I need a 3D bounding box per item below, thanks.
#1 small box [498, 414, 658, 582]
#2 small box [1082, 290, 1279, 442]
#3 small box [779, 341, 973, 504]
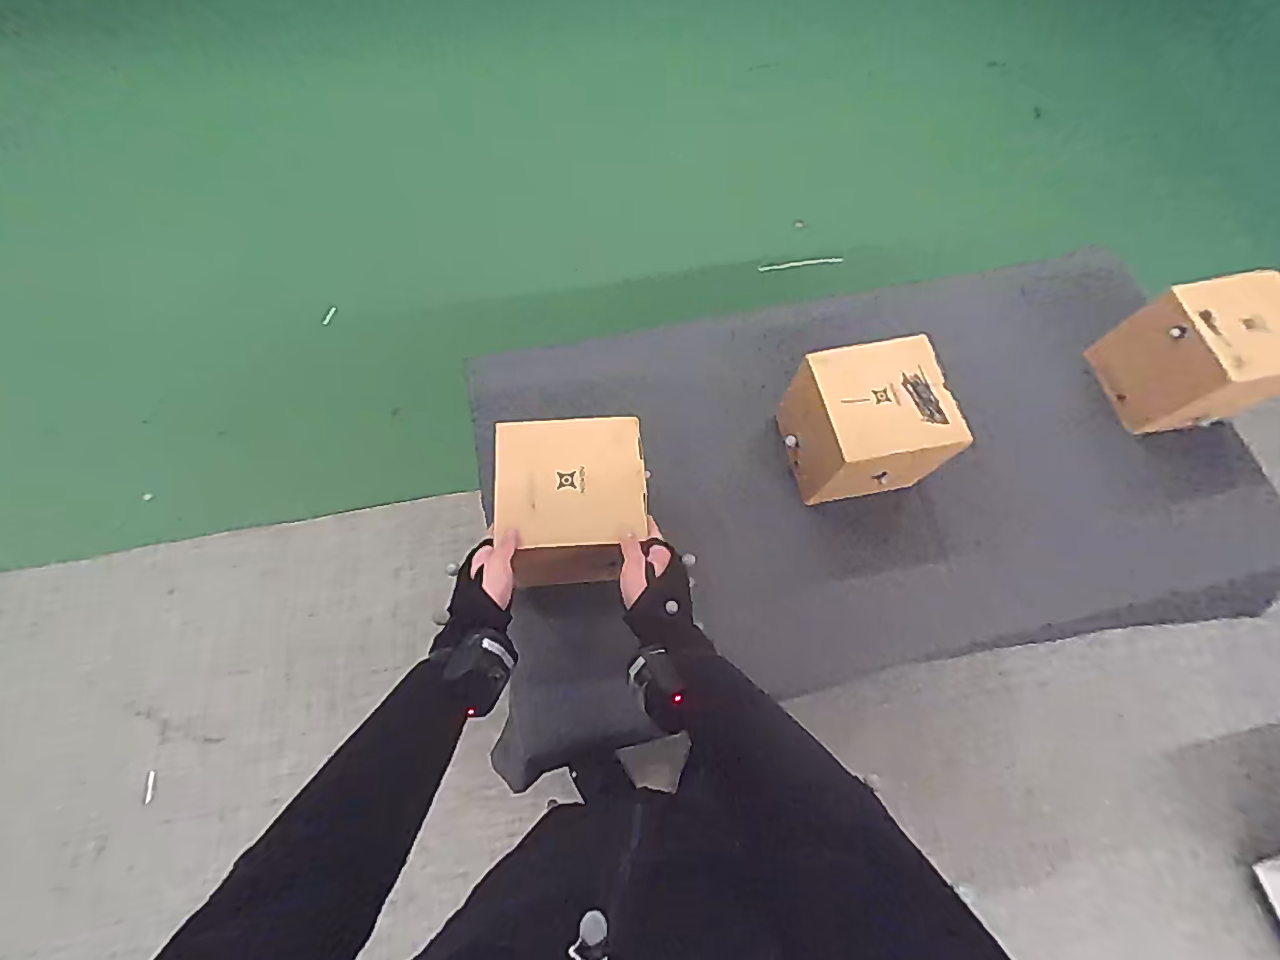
[{"bbox_3d":[-0.076,0.029,0.692,0.179,0.176,0.168,-2,65,-4],"label":"small box"},{"bbox_3d":[0.870,-0.174,0.855,0.179,0.176,0.168,-8,69,-7],"label":"small box"},{"bbox_3d":[0.324,-0.077,0.781,0.179,0.176,0.168,-9,69,-6],"label":"small box"}]
